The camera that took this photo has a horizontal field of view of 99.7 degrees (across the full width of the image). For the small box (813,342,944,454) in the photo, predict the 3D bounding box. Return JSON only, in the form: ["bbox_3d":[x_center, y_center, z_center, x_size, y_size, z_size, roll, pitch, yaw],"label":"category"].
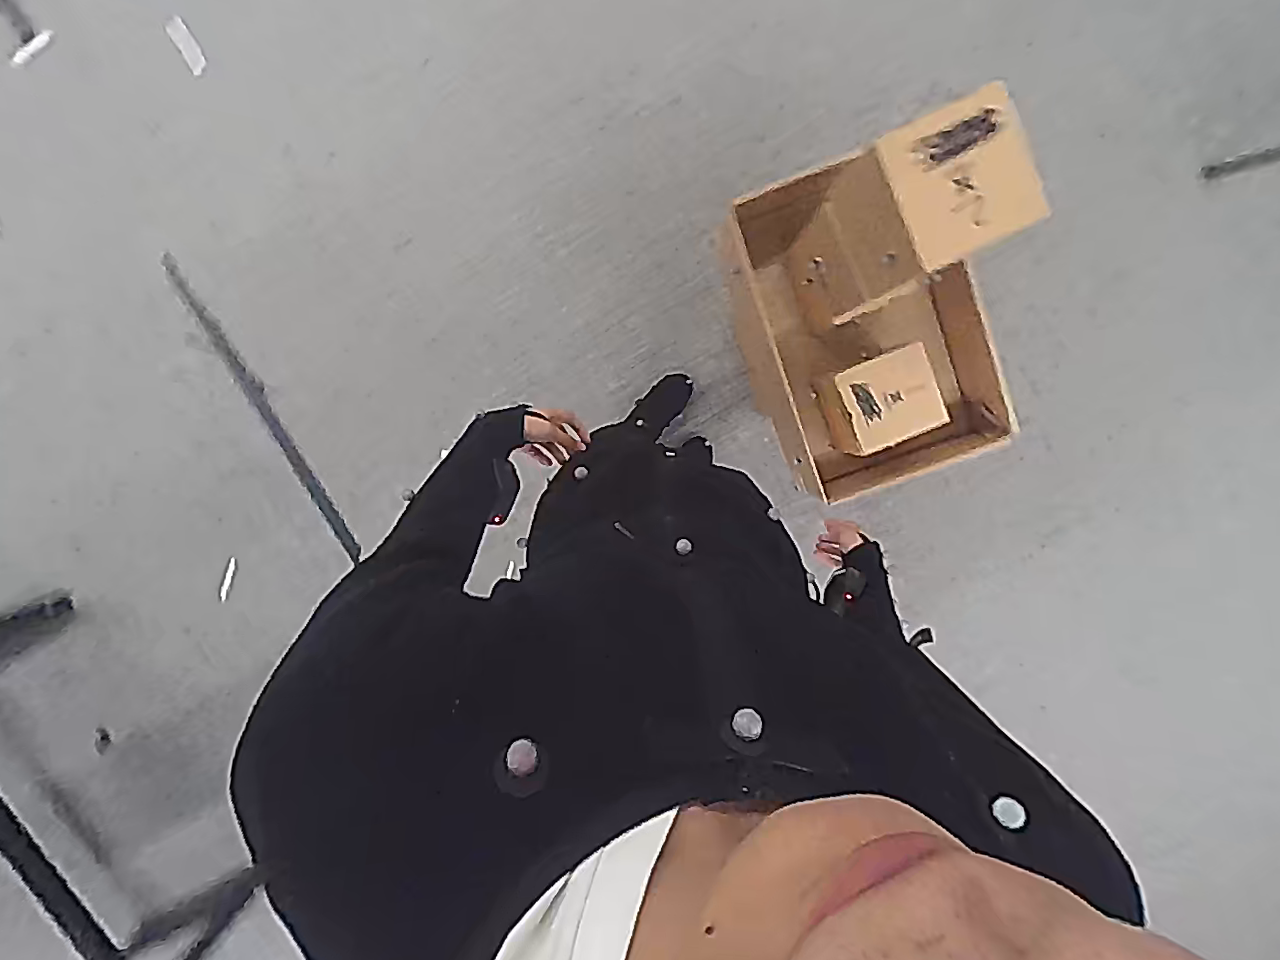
[{"bbox_3d":[0.469,-0.163,1.100,0.179,0.176,0.168,-22,97,4],"label":"small box"}]

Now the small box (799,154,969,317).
[{"bbox_3d":[0.394,-0.393,0.903,0.179,0.176,0.168,-25,96,4],"label":"small box"}]

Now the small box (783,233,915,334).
[{"bbox_3d":[0.400,-0.407,1.066,0.168,0.176,0.179,-22,98,5],"label":"small box"}]
